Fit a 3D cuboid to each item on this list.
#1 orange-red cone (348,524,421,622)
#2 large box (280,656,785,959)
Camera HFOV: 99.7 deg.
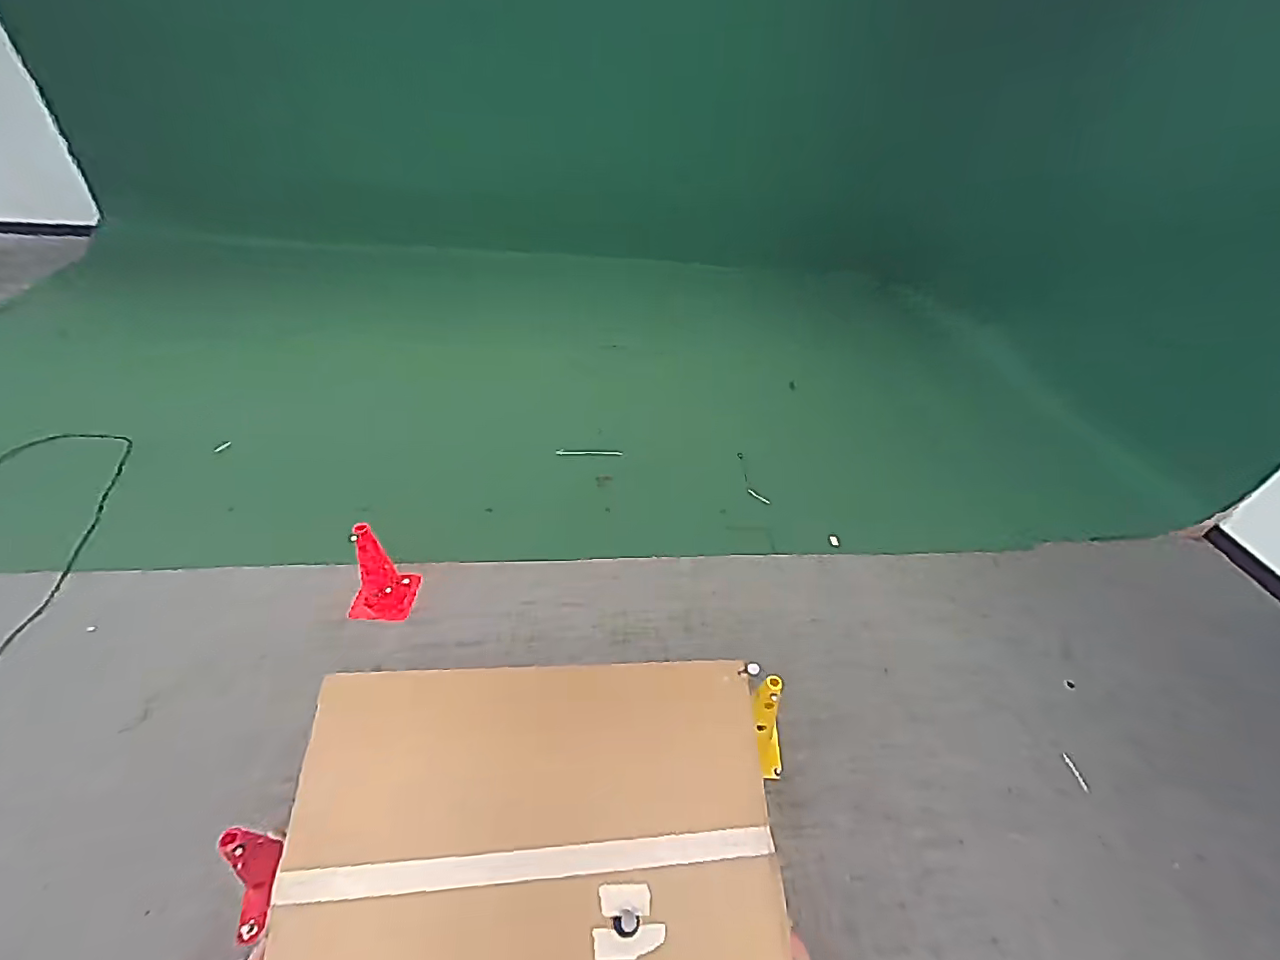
[{"bbox_3d":[-0.882,0.283,1.785,0.199,0.360,0.198,4,41,-1],"label":"orange-red cone"},{"bbox_3d":[-0.106,0.392,0.592,0.408,0.320,0.320,2,61,-11],"label":"large box"}]
